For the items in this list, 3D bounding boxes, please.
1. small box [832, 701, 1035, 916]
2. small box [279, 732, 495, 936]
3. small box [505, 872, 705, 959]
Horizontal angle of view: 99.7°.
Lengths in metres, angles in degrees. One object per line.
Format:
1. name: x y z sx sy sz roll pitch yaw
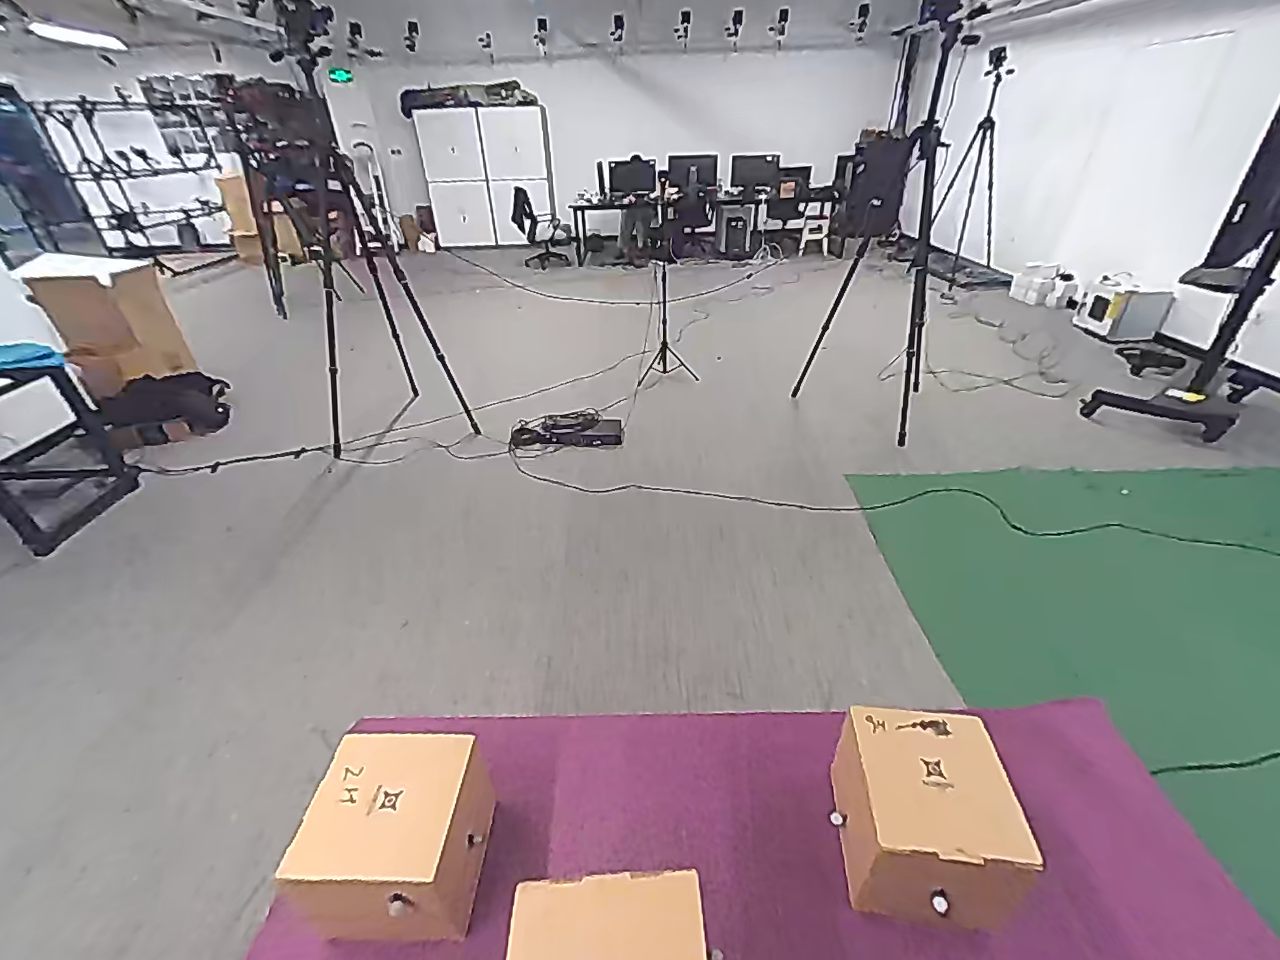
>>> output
1. small box: 0.348 0.412 0.683 0.168 0.176 0.179 3 35 8
2. small box: -0.296 0.445 0.685 0.179 0.176 0.168 -1 33 3
3. small box: -0.022 0.470 0.457 0.168 0.176 0.179 -6 34 2
